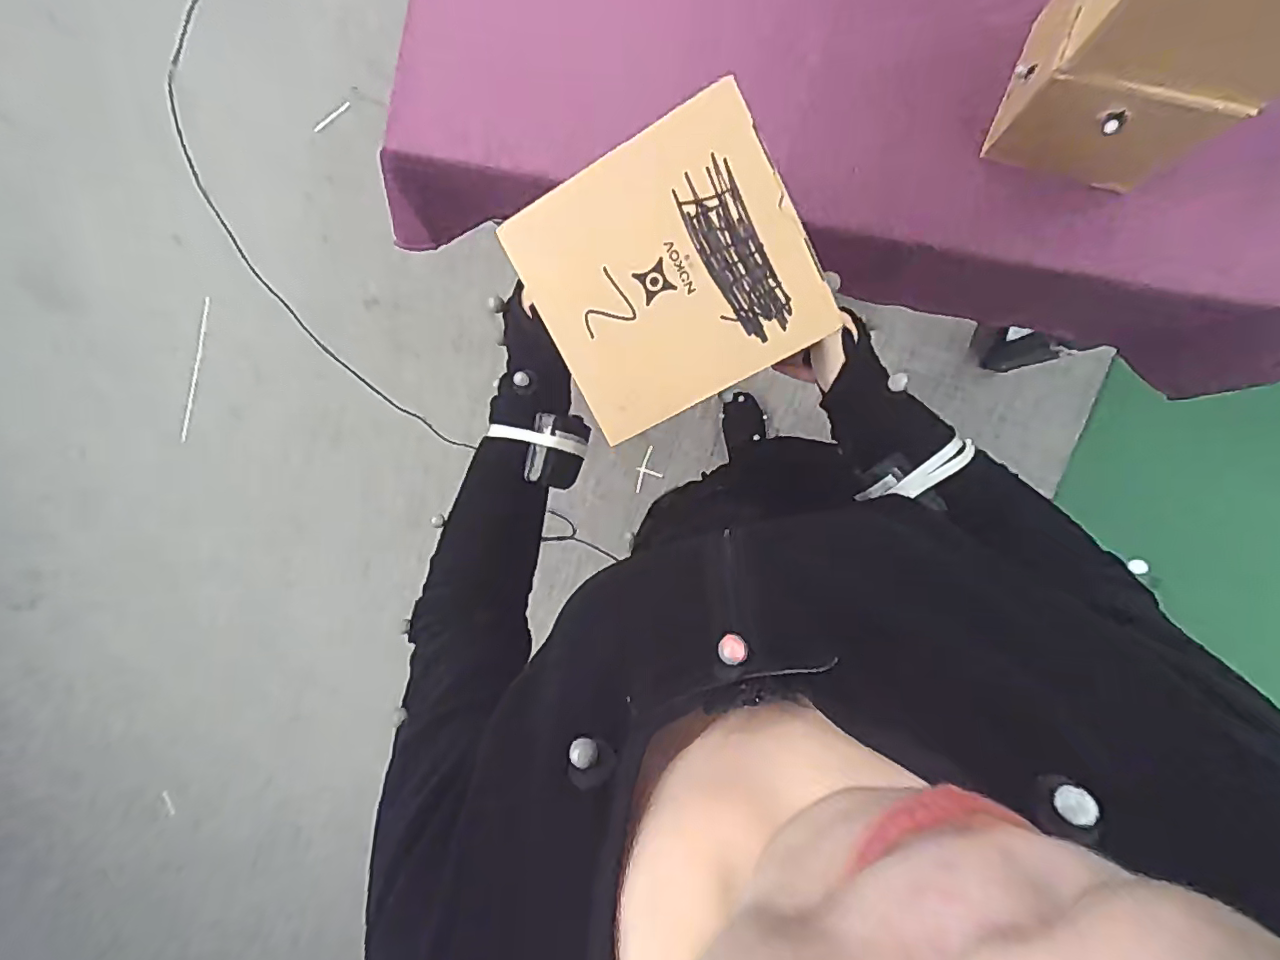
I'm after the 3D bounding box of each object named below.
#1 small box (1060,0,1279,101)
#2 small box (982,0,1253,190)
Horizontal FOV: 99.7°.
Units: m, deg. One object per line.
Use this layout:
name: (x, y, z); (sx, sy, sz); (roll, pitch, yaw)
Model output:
small box: (0.470, -0.424, 0.401); (0.179, 0.176, 0.168); (19, 99, 9)
small box: (0.500, -0.433, 0.560); (0.179, 0.176, 0.168); (22, 99, 8)
